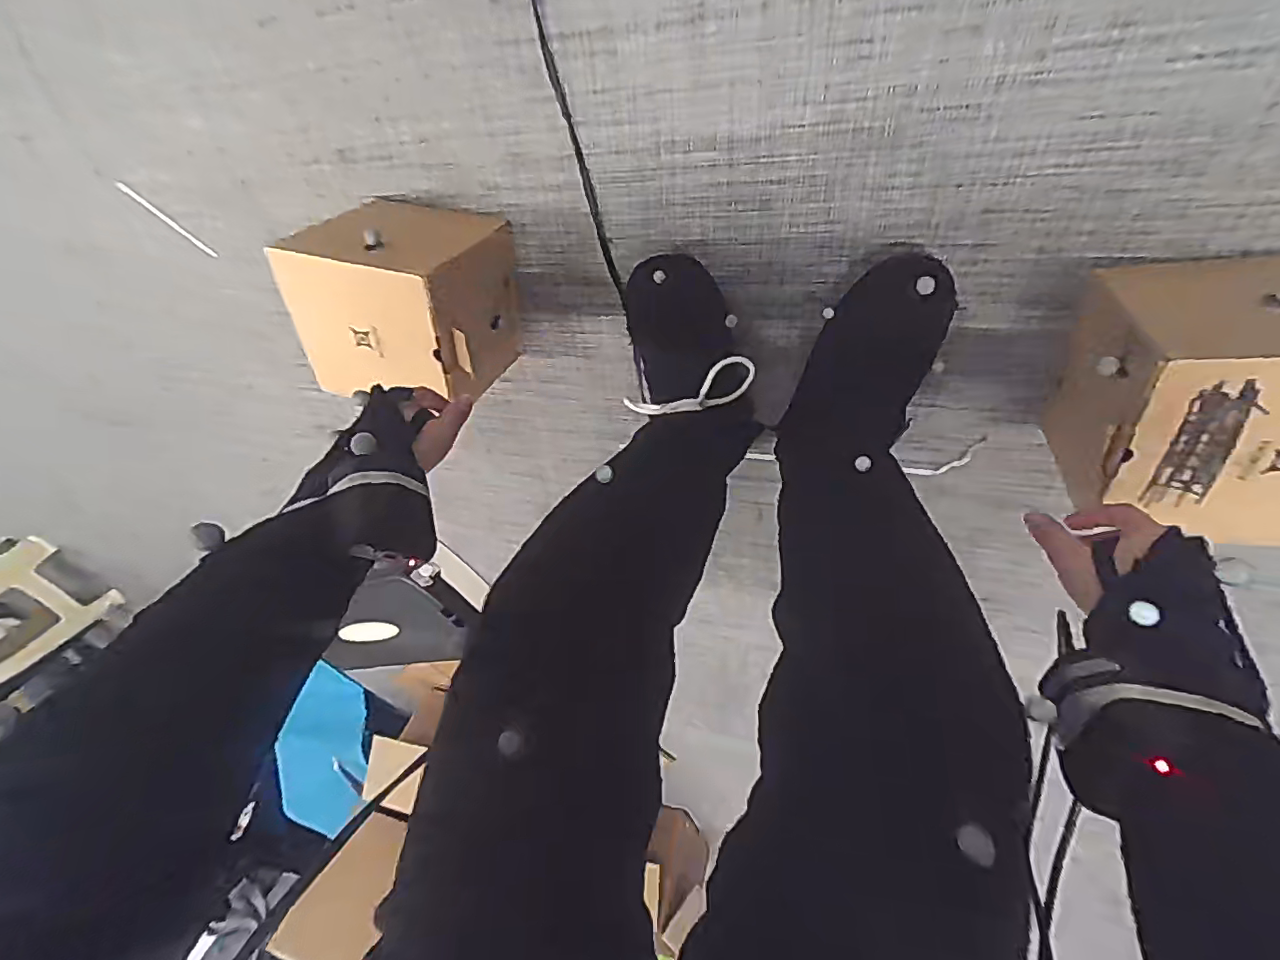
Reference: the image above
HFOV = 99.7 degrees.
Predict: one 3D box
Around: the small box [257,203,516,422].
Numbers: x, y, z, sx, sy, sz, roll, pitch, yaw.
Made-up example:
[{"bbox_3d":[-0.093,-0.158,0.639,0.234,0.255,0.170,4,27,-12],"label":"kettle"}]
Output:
[{"bbox_3d":[-0.260,-0.193,0.603,0.179,0.176,0.168,13,134,10],"label":"small box"}]
